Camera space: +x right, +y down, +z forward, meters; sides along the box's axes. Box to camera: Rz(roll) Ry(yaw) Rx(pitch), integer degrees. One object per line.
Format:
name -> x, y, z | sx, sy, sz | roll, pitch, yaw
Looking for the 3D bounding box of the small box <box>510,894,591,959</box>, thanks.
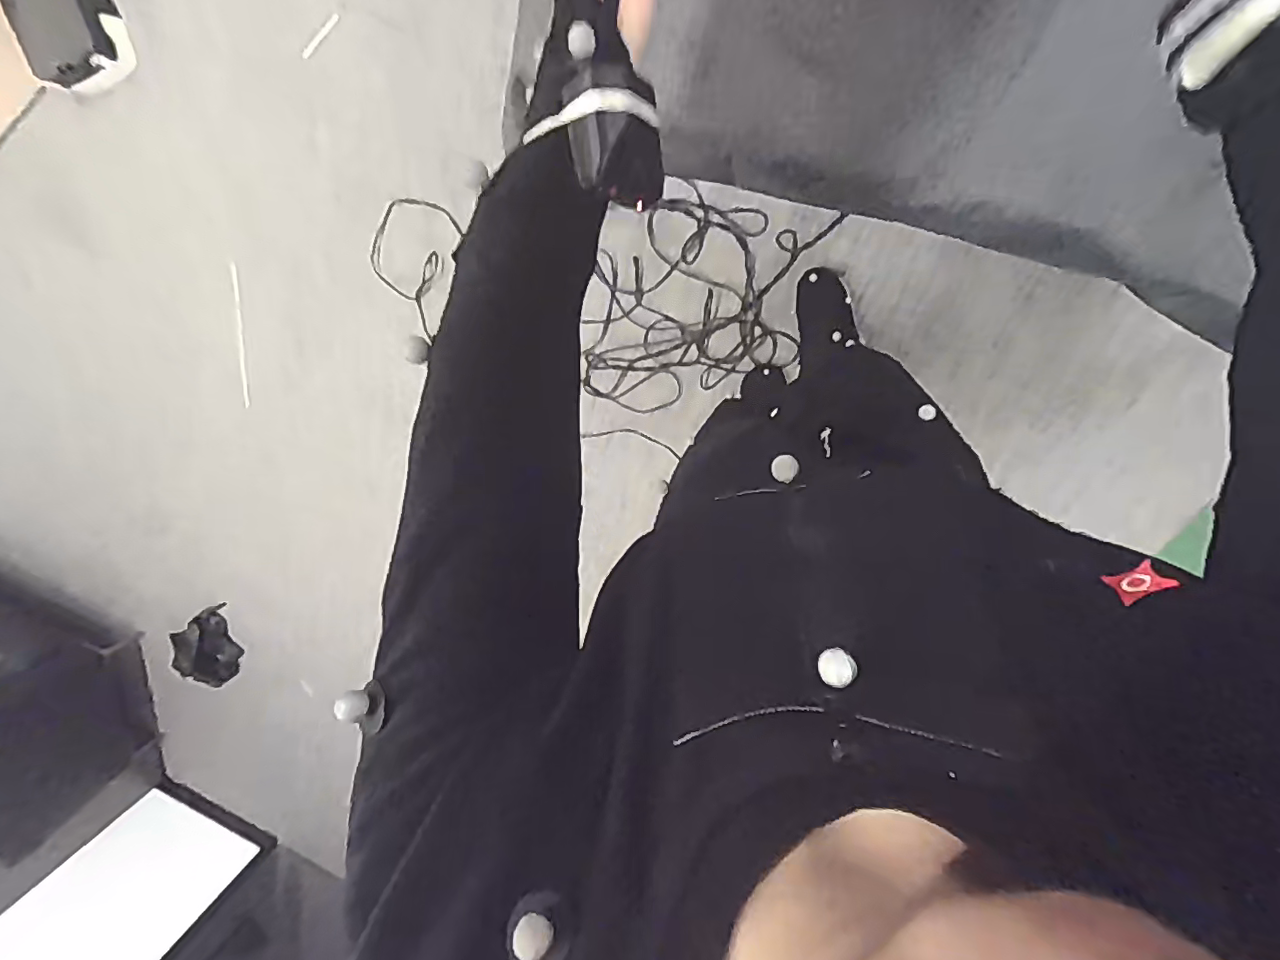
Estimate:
small box -> -0.259, 1.333, 1.537 | 0.168, 0.176, 0.179 | 30, 120, 7
